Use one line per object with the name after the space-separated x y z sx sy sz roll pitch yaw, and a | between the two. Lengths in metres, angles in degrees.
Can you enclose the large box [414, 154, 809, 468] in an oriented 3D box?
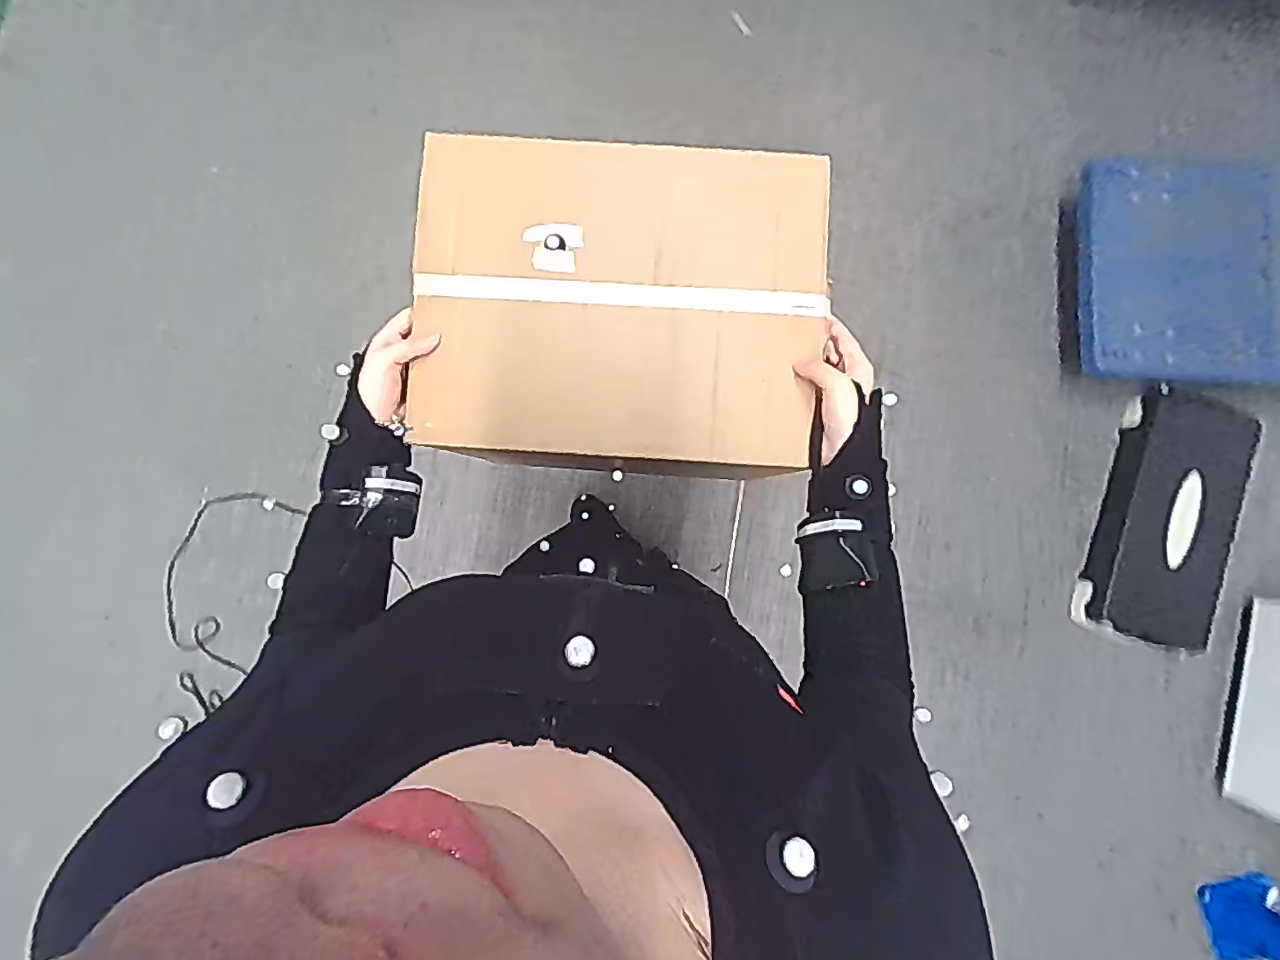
-0.023 -0.175 0.695 0.408 0.320 0.320 2 88 2 | large box
